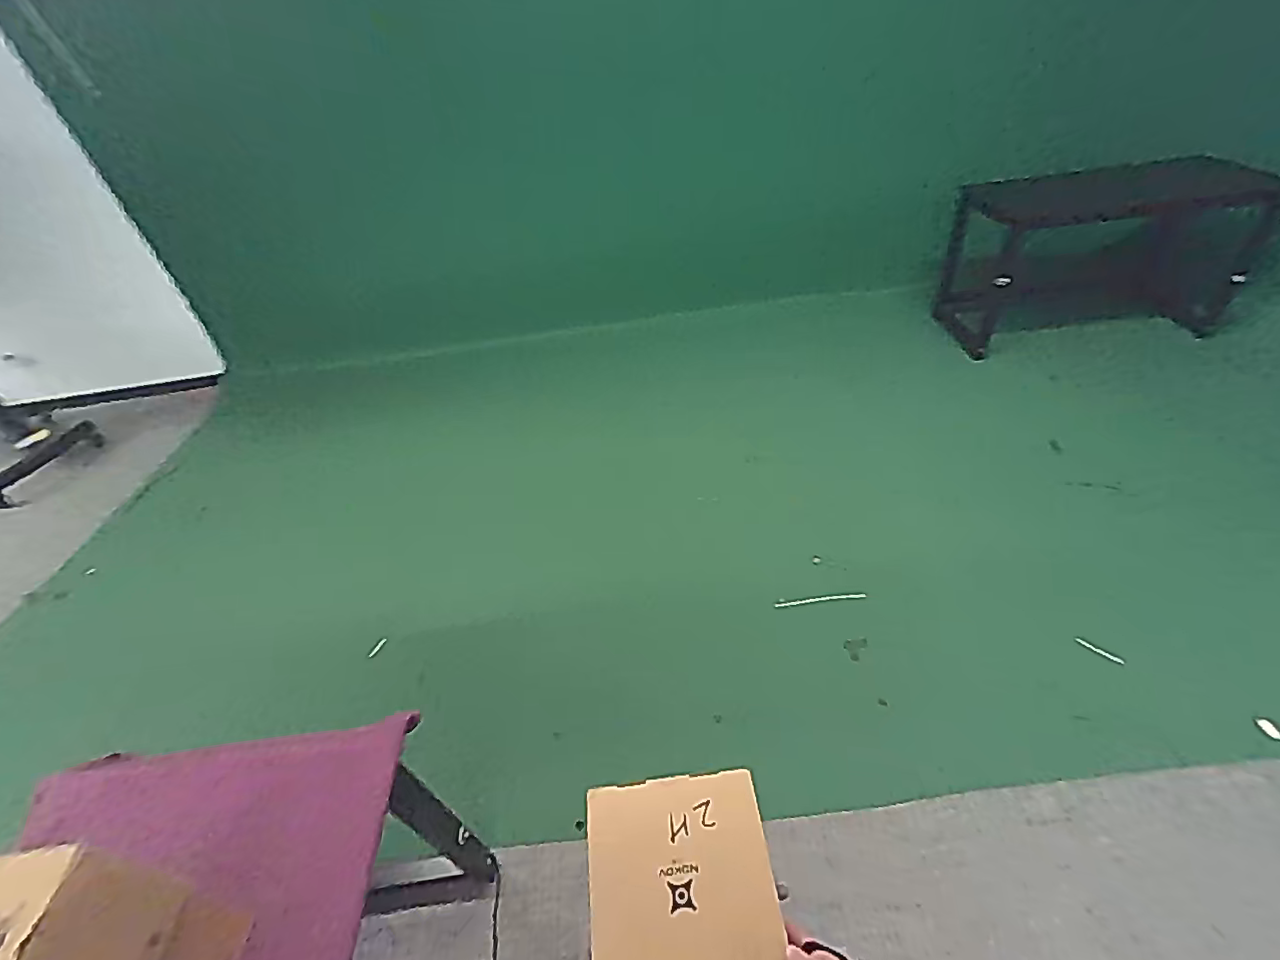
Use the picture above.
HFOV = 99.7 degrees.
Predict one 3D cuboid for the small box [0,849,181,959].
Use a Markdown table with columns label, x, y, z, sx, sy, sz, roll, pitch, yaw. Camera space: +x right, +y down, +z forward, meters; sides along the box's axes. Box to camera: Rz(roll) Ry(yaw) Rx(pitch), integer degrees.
| label | x | y | z | sx | sy | sz | roll | pitch | yaw |
| --- | --- | --- | --- | --- | --- | --- | --- | --- | --- |
| small box | -0.649 | 0.509 | 0.563 | 0.179 | 0.176 | 0.168 | -10 | 42 | 2 |

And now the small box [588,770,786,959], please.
| label | x | y | z | sx | sy | sz | roll | pitch | yaw |
| --- | --- | --- | --- | --- | --- | --- | --- | --- | --- |
| small box | 0.042 | 0.415 | 0.537 | 0.168 | 0.176 | 0.179 | -6 | 44 | 0 |
